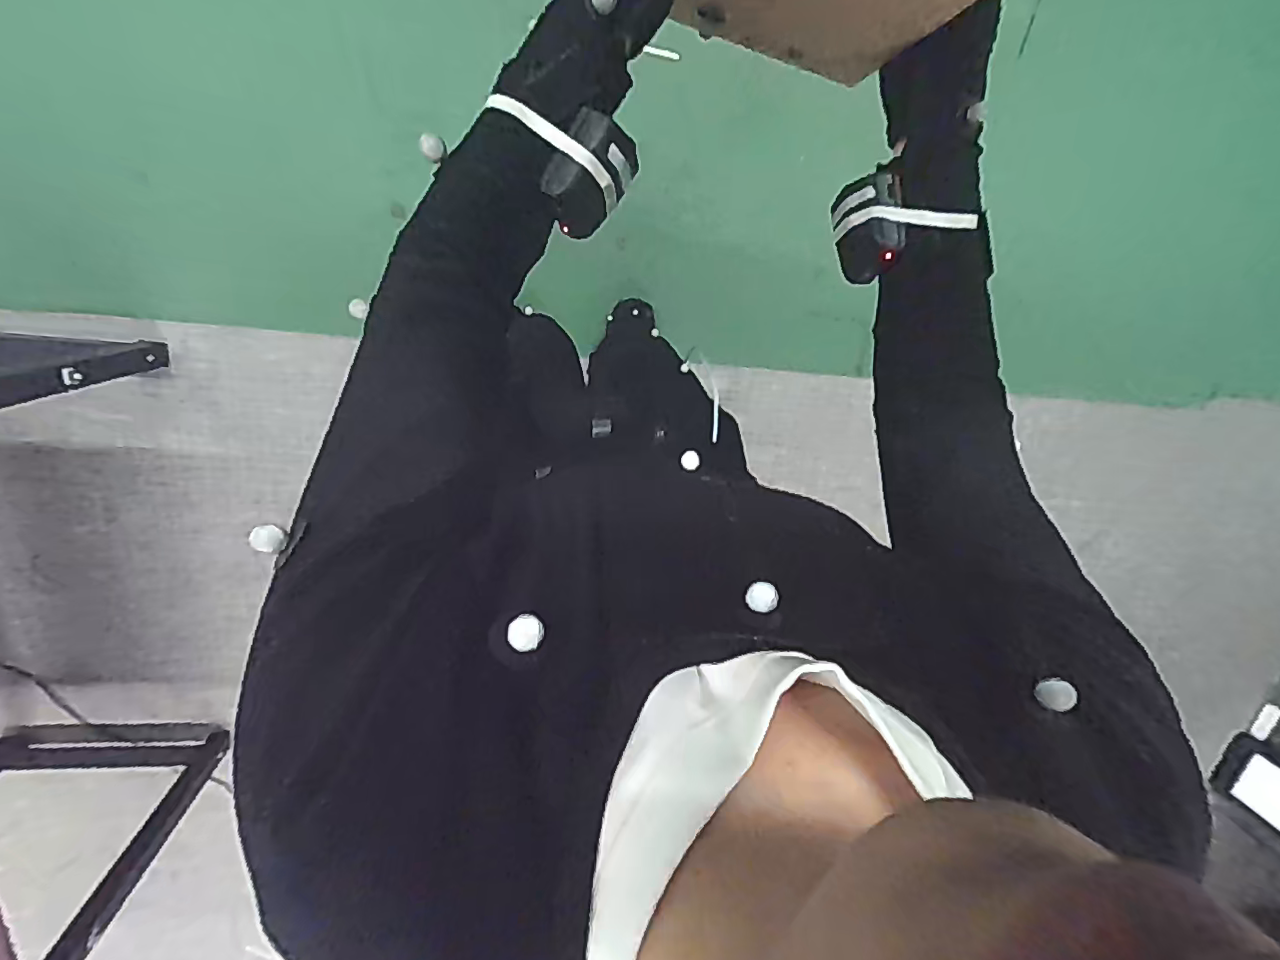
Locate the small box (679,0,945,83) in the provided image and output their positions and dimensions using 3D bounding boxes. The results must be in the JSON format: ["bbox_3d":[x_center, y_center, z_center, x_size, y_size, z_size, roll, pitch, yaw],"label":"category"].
[{"bbox_3d":[0.125,-0.391,0.335,0.168,0.176,0.179,12,107,-11],"label":"small box"}]
